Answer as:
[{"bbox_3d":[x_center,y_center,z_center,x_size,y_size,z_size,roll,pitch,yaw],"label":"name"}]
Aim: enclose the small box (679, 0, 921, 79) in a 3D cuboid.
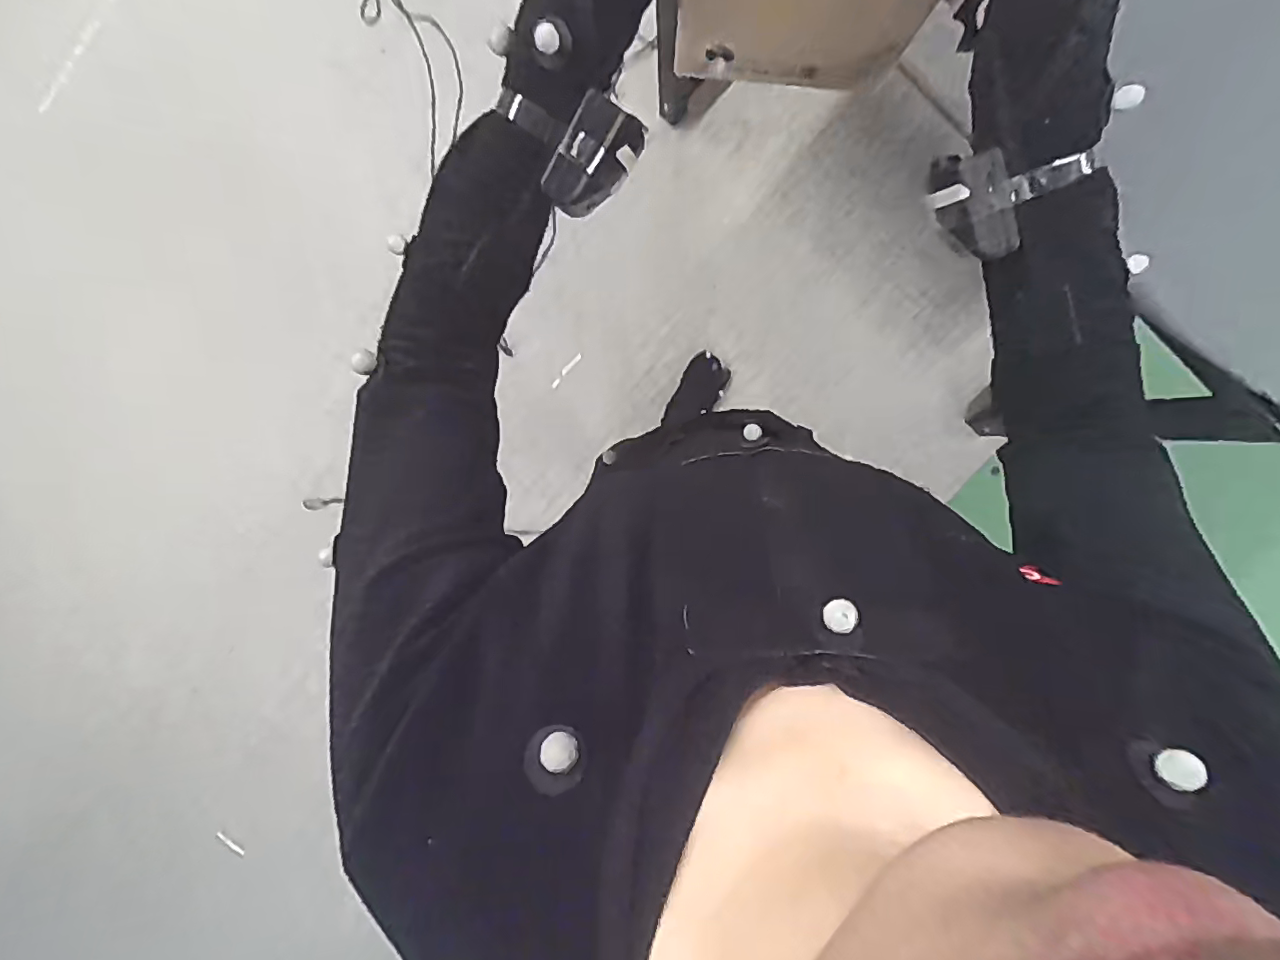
[{"bbox_3d":[0.118,-0.402,0.347,0.168,0.176,0.179,6,95,0],"label":"small box"}]
